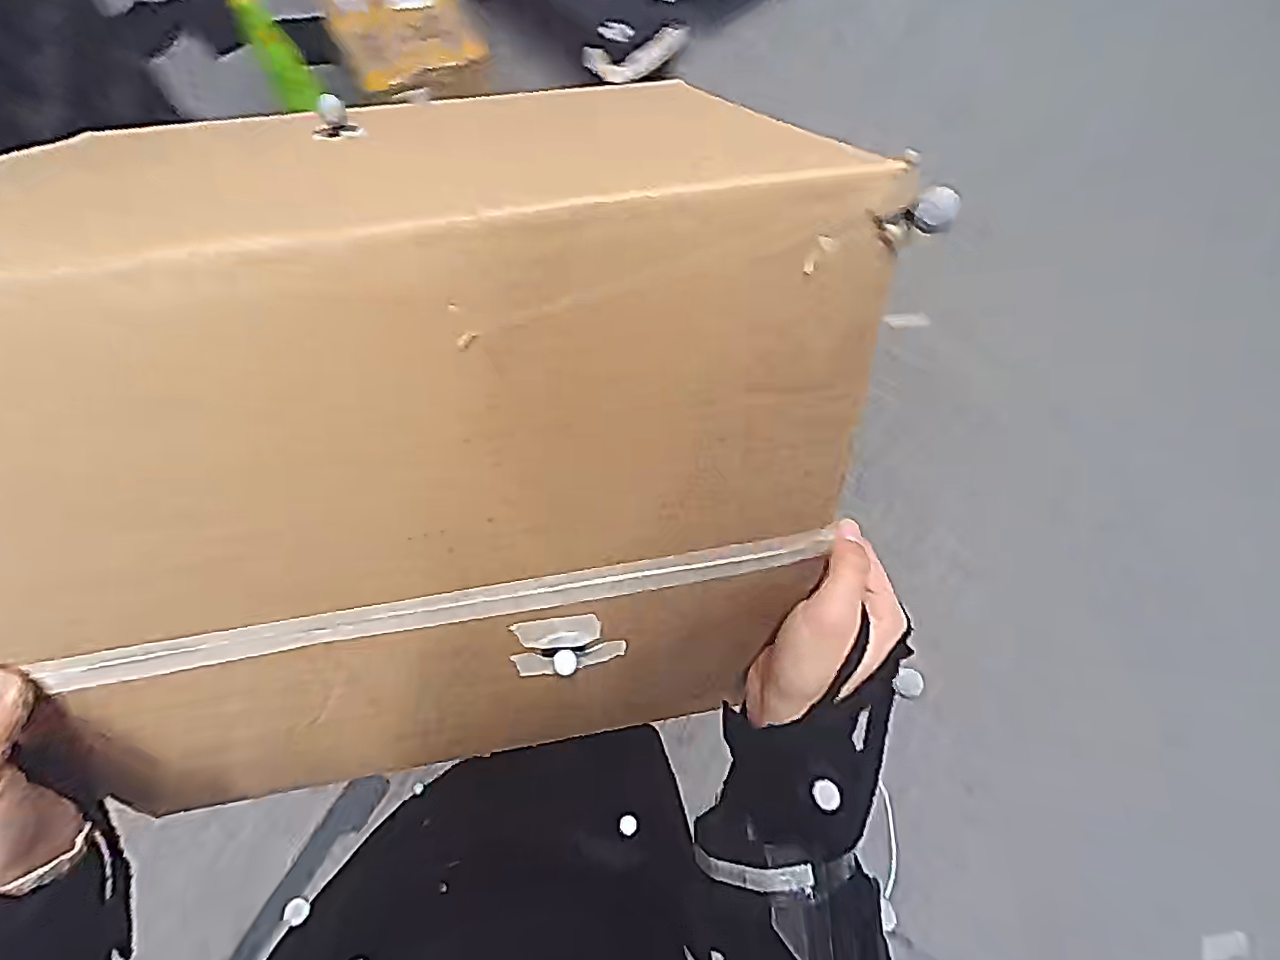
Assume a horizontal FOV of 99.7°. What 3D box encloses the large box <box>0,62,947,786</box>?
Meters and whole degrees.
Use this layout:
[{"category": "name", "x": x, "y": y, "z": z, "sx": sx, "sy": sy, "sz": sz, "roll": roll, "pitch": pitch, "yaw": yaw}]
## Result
[{"category": "large box", "x": -0.116, "y": -0.057, "z": 0.353, "sx": 0.408, "sy": 0.320, "sz": 0.320, "roll": -9, "pitch": 41, "yaw": -4}]
